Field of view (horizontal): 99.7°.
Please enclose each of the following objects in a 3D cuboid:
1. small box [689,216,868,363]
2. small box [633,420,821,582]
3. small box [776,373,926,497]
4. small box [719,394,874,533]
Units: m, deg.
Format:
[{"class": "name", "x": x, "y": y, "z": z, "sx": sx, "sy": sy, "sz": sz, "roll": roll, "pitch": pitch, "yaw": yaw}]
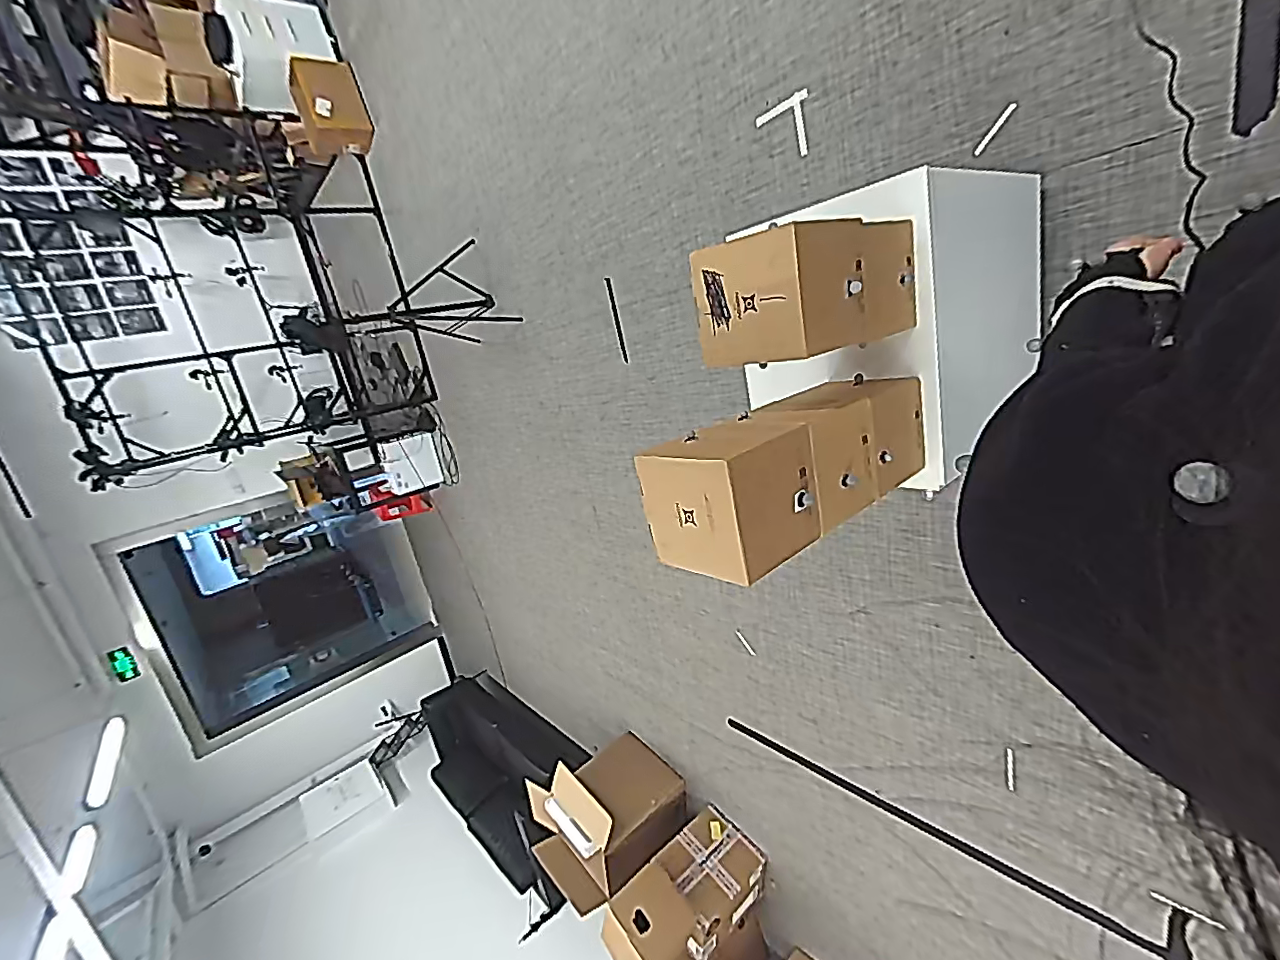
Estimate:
[{"class": "small box", "x": 0.198, "y": -0.266, "z": 0.768, "sx": 0.179, "sy": 0.176, "sz": 0.168, "roll": 9, "pitch": 116, "yaw": 49}, {"class": "small box", "x": 0.121, "y": 0.017, "z": 0.747, "sx": 0.179, "sy": 0.176, "sz": 0.168, "roll": 5, "pitch": 113, "yaw": 51}, {"class": "small box", "x": 0.365, "y": -0.084, "z": 0.935, "sx": 0.179, "sy": 0.176, "sz": 0.168, "roll": 8, "pitch": 116, "yaw": 51}, {"class": "small box", "x": 0.244, "y": -0.033, "z": 0.840, "sx": 0.179, "sy": 0.176, "sz": 0.168, "roll": 6, "pitch": 113, "yaw": 51}]
